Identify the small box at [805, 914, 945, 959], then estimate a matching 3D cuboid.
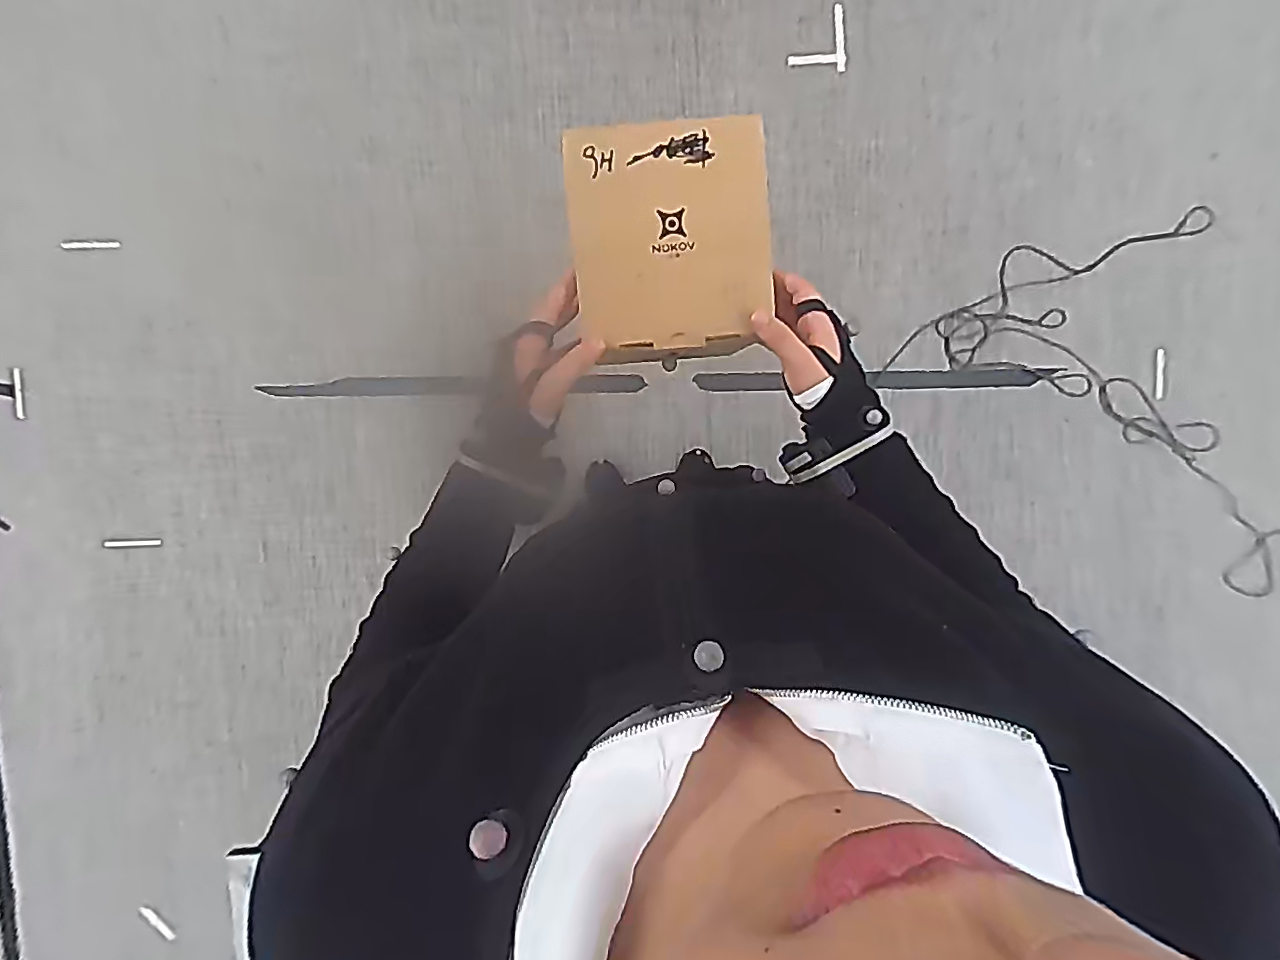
[{"bbox_3d":[0.335,0.730,0.730,0.179,0.176,0.168,-1,92,0],"label":"small box"}]
